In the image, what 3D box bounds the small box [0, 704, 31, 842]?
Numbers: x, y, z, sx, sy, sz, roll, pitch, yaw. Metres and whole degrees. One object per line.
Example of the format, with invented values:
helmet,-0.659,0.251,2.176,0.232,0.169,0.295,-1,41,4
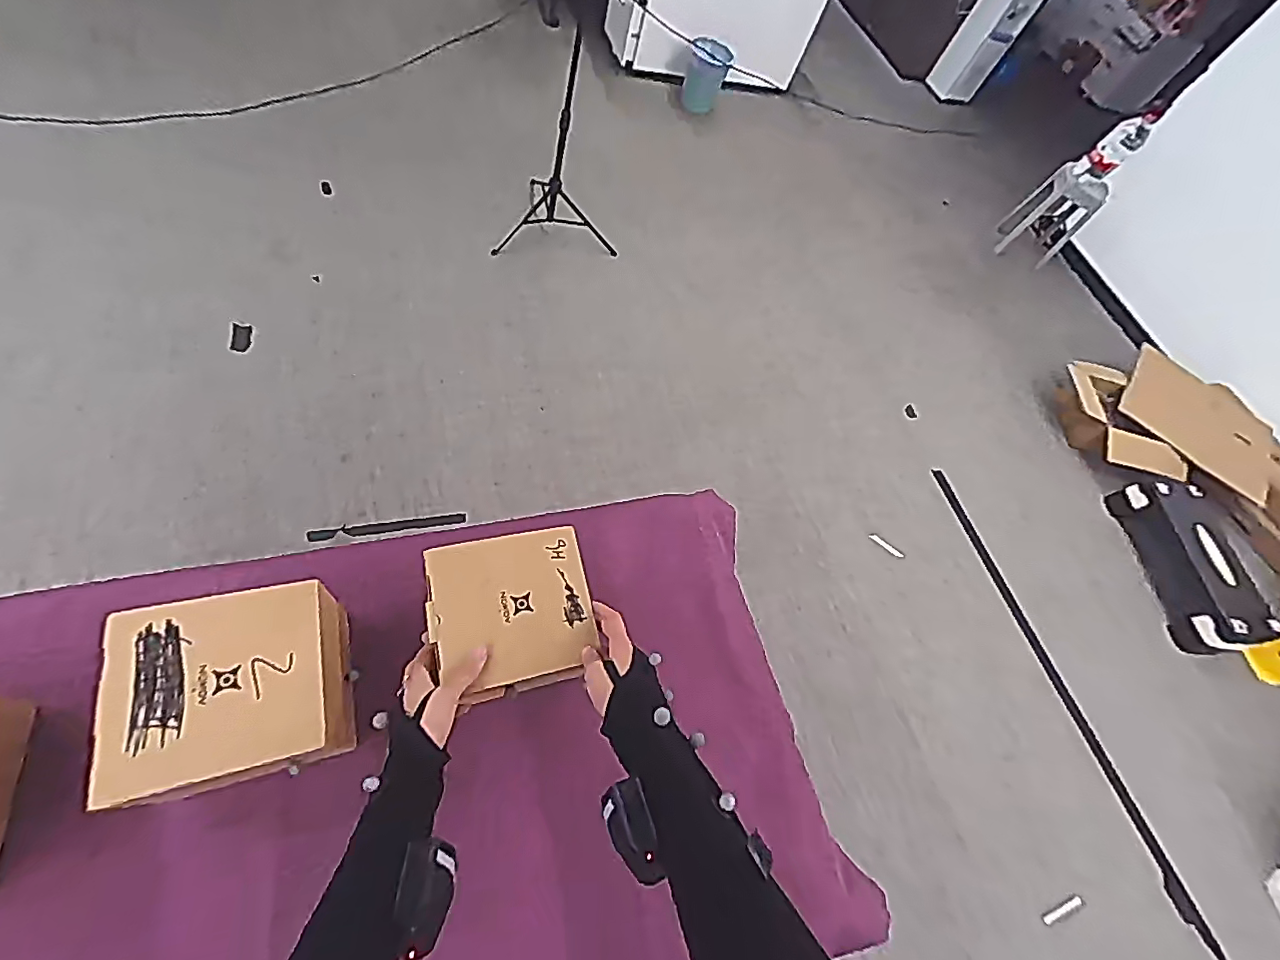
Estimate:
small box,-0.682,0.283,0.449,0.168,0.176,0.179,-2,64,-19
